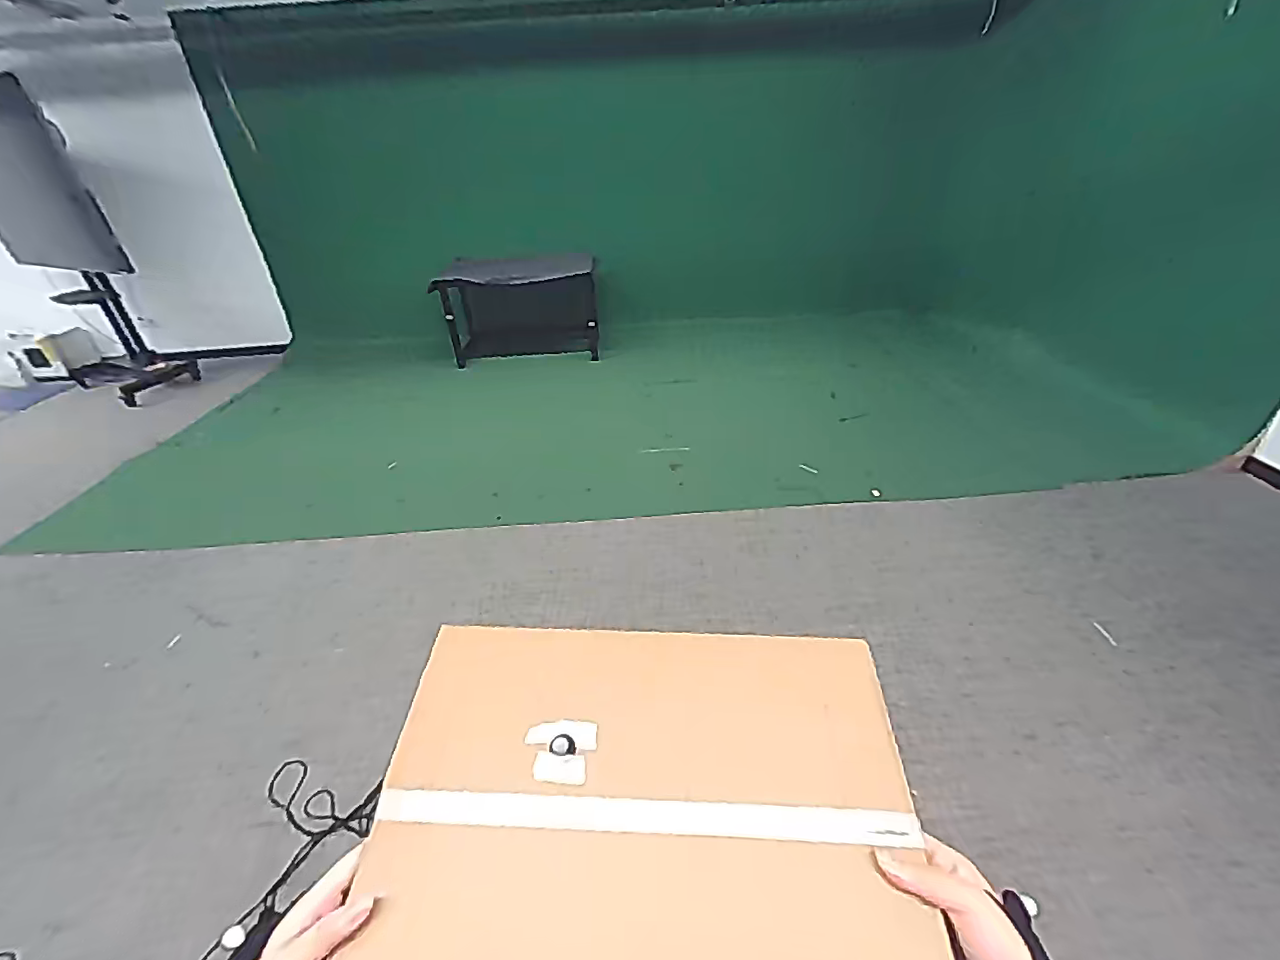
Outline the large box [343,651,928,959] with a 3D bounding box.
[{"bbox_3d":[0.007,0.378,0.518,0.408,0.320,0.320,-1,44,5],"label":"large box"}]
